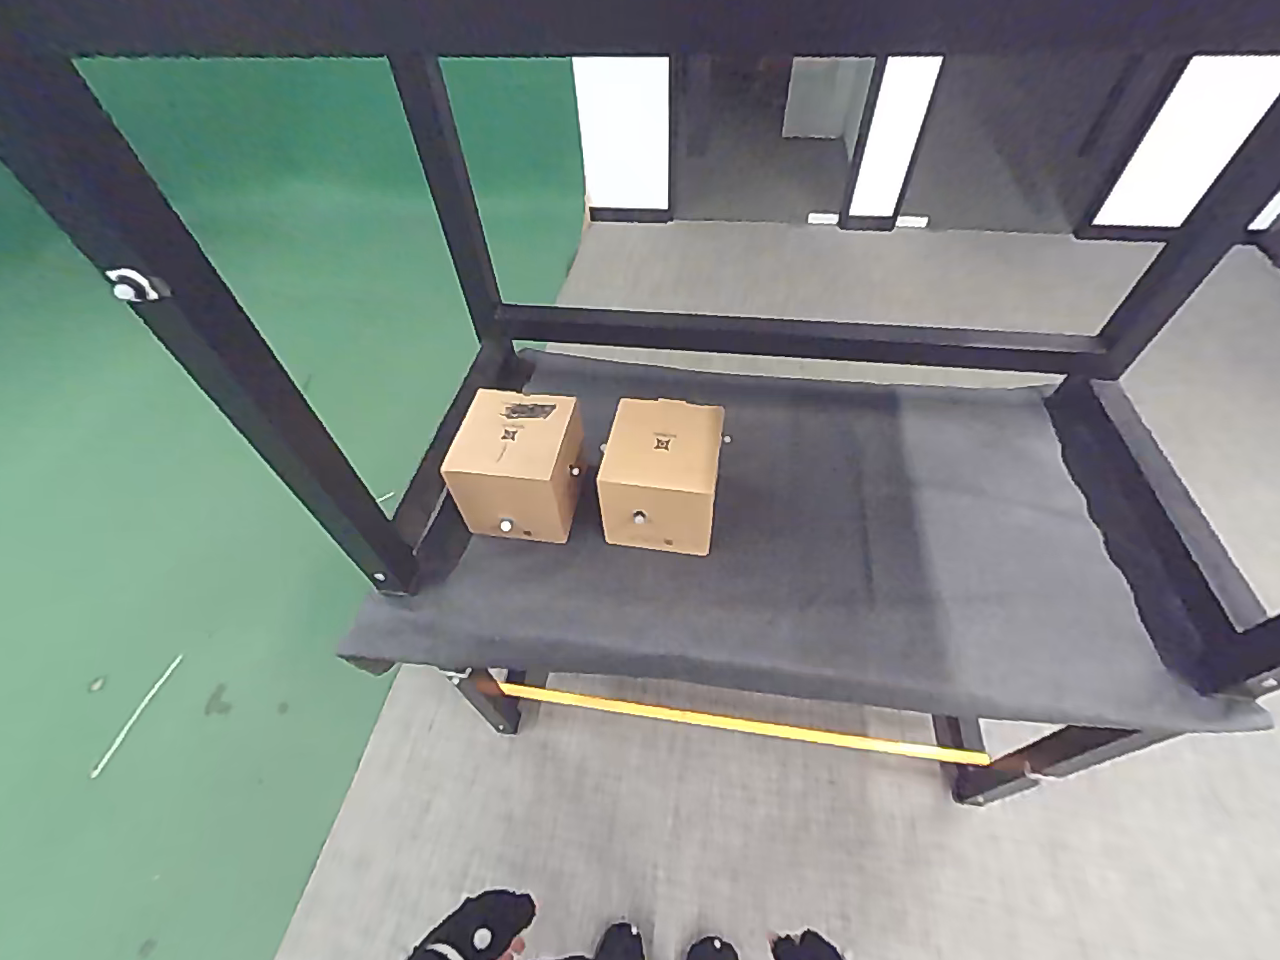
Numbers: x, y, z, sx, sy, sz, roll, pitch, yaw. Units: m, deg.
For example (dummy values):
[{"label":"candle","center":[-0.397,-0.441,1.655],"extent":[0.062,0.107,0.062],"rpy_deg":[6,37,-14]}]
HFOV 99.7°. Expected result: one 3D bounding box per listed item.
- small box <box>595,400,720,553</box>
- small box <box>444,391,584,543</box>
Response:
[{"label":"small box","center":[0.034,-0.003,0.866],"extent":[0.168,0.176,0.179],"rpy_deg":[7,51,7]},{"label":"small box","center":[-0.192,-0.021,0.886],"extent":[0.168,0.176,0.179],"rpy_deg":[6,52,7]}]
